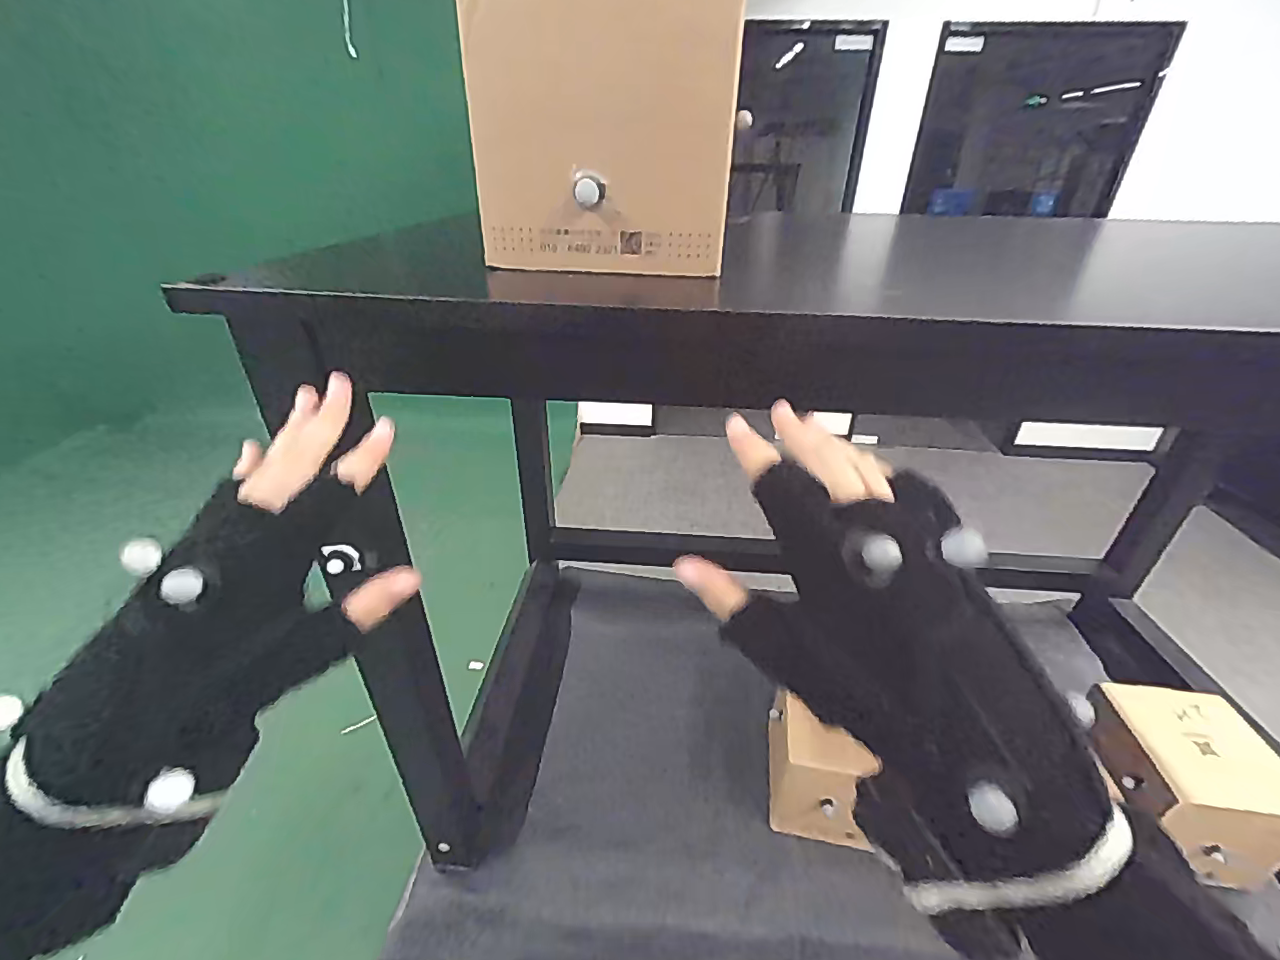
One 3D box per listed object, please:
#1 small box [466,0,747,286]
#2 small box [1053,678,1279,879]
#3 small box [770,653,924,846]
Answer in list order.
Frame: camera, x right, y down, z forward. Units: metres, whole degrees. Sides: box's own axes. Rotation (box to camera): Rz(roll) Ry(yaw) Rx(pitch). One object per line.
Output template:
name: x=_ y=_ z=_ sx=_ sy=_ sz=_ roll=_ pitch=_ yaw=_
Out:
small box: x=-0.015 y=-0.254 z=0.407 sx=0.168 sy=0.176 sz=0.179 roll=4 pitch=32 yaw=5
small box: x=0.721 y=0.406 z=0.741 sx=0.168 sy=0.176 sz=0.179 roll=5 pitch=31 yaw=6
small box: x=0.281 y=0.383 z=0.775 sx=0.168 sy=0.176 sz=0.179 roll=7 pitch=31 yaw=9
